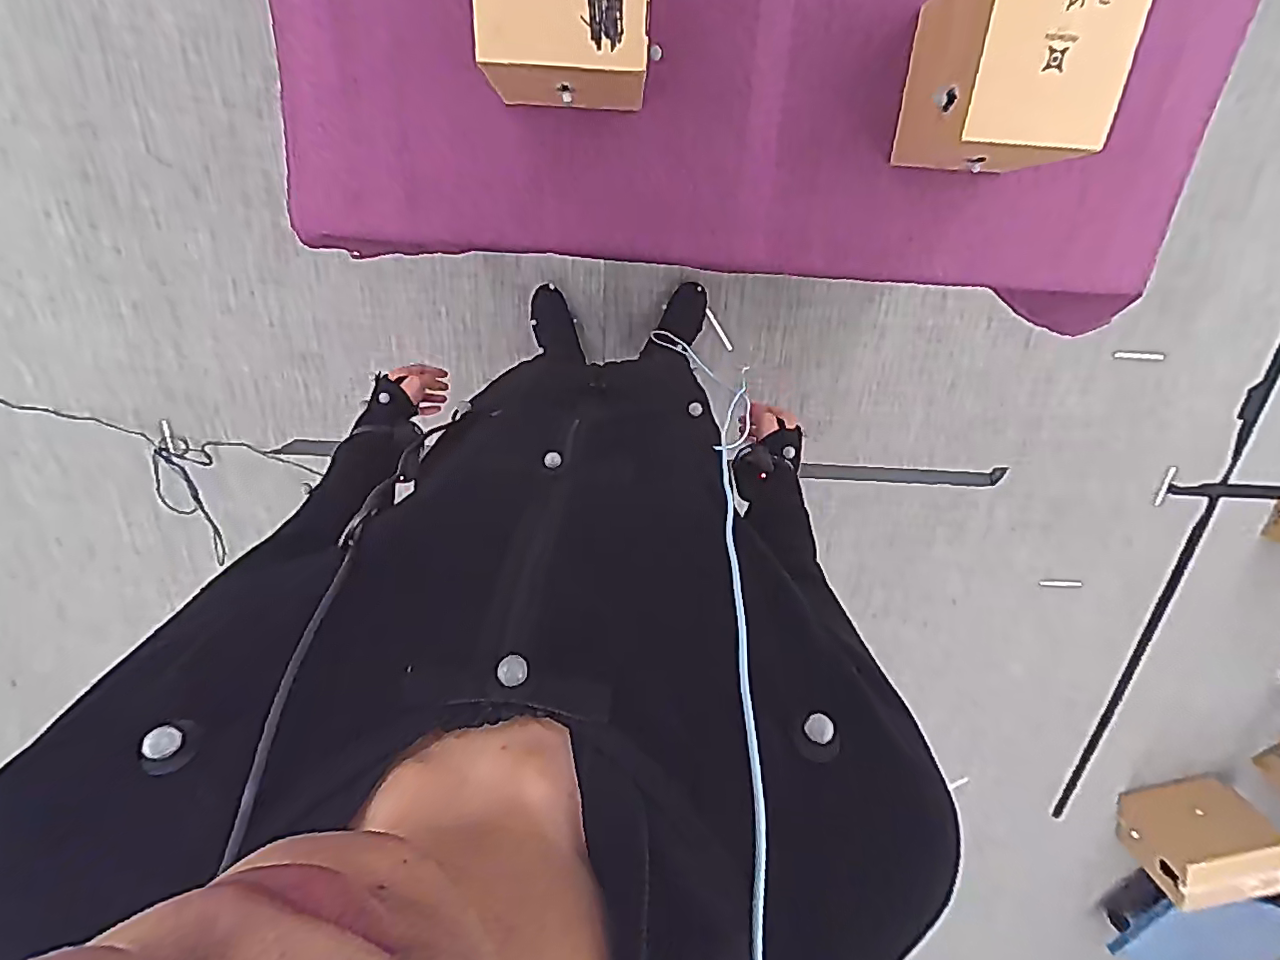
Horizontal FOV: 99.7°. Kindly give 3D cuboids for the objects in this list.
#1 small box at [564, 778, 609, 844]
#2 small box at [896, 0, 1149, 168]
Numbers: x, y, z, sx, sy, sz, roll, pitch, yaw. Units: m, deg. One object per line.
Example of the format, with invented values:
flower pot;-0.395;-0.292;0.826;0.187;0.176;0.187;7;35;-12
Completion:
small box;-0.213;1.331;2.181;0.179;0.176;0.168;0;113;-2
small box;0.432;-0.483;0.641;0.168;0.176;0.179;2;113;-4
